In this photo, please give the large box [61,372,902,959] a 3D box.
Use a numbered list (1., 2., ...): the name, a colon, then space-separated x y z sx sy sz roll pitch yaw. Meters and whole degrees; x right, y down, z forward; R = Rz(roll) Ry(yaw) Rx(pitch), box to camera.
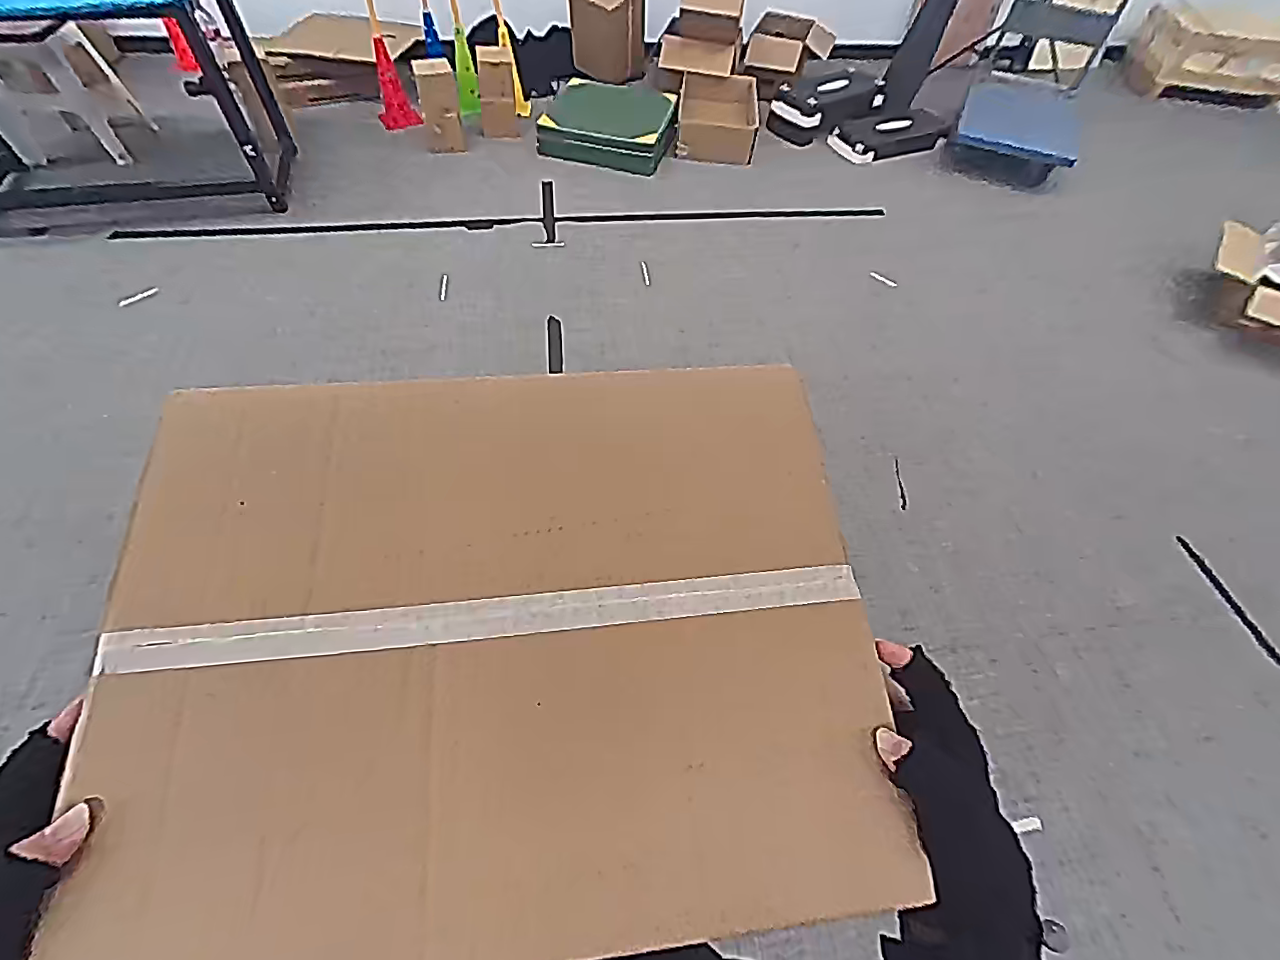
1. large box: -0.085 0.135 0.447 0.408 0.320 0.320 -4 67 -6
